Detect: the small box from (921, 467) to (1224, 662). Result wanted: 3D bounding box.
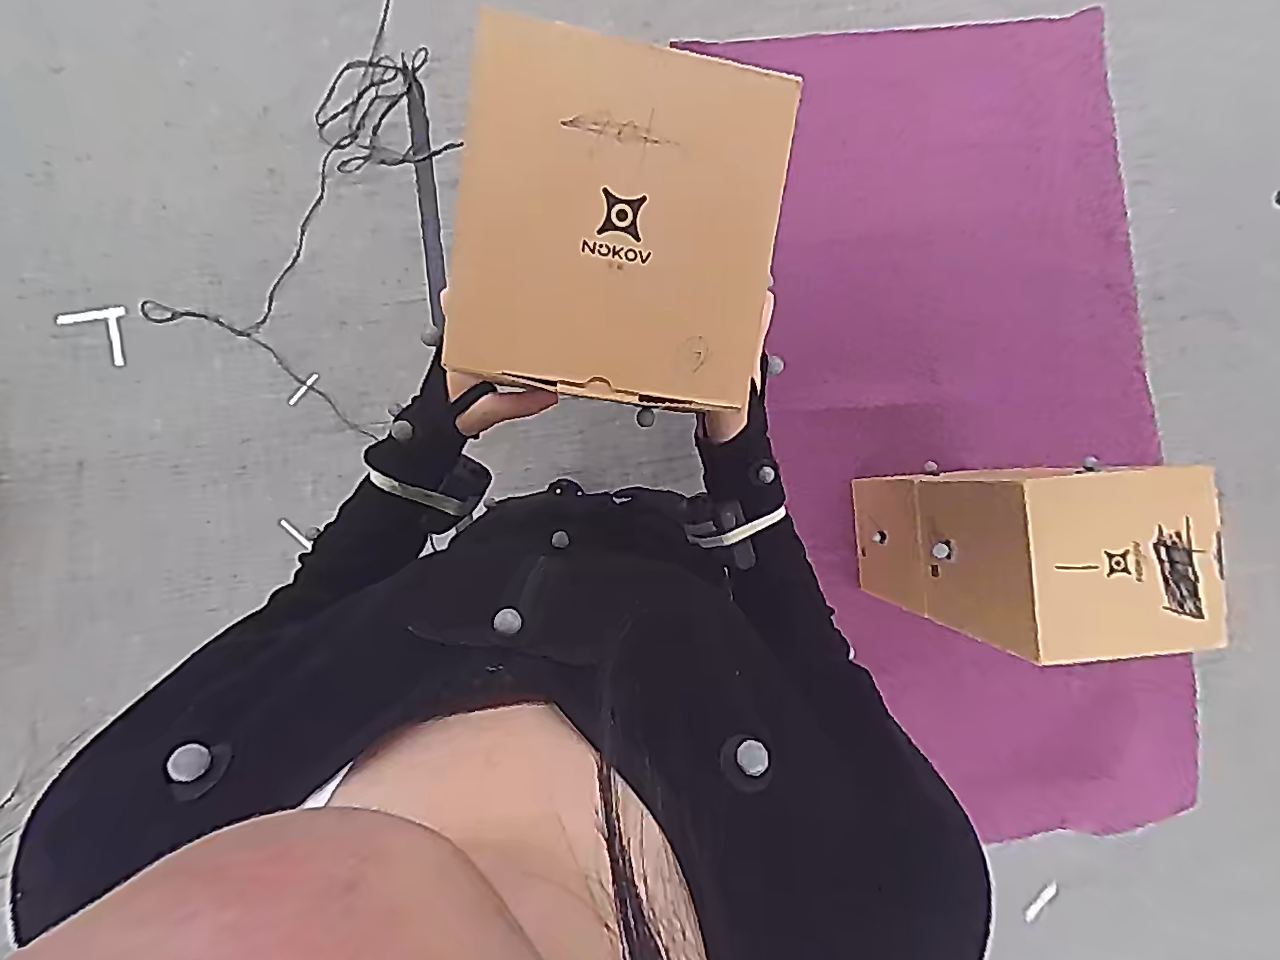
[{"bbox_3d":[0.424,0.073,0.556,0.179,0.176,0.168,-4,89,-3],"label":"small box"}]

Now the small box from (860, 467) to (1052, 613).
[{"bbox_3d":[0.410,0.073,0.720,0.179,0.176,0.168,-4,90,-4],"label":"small box"}]

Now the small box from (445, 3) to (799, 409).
[{"bbox_3d":[-0.018,-0.144,0.356,0.168,0.176,0.179,7,96,-8],"label":"small box"}]
